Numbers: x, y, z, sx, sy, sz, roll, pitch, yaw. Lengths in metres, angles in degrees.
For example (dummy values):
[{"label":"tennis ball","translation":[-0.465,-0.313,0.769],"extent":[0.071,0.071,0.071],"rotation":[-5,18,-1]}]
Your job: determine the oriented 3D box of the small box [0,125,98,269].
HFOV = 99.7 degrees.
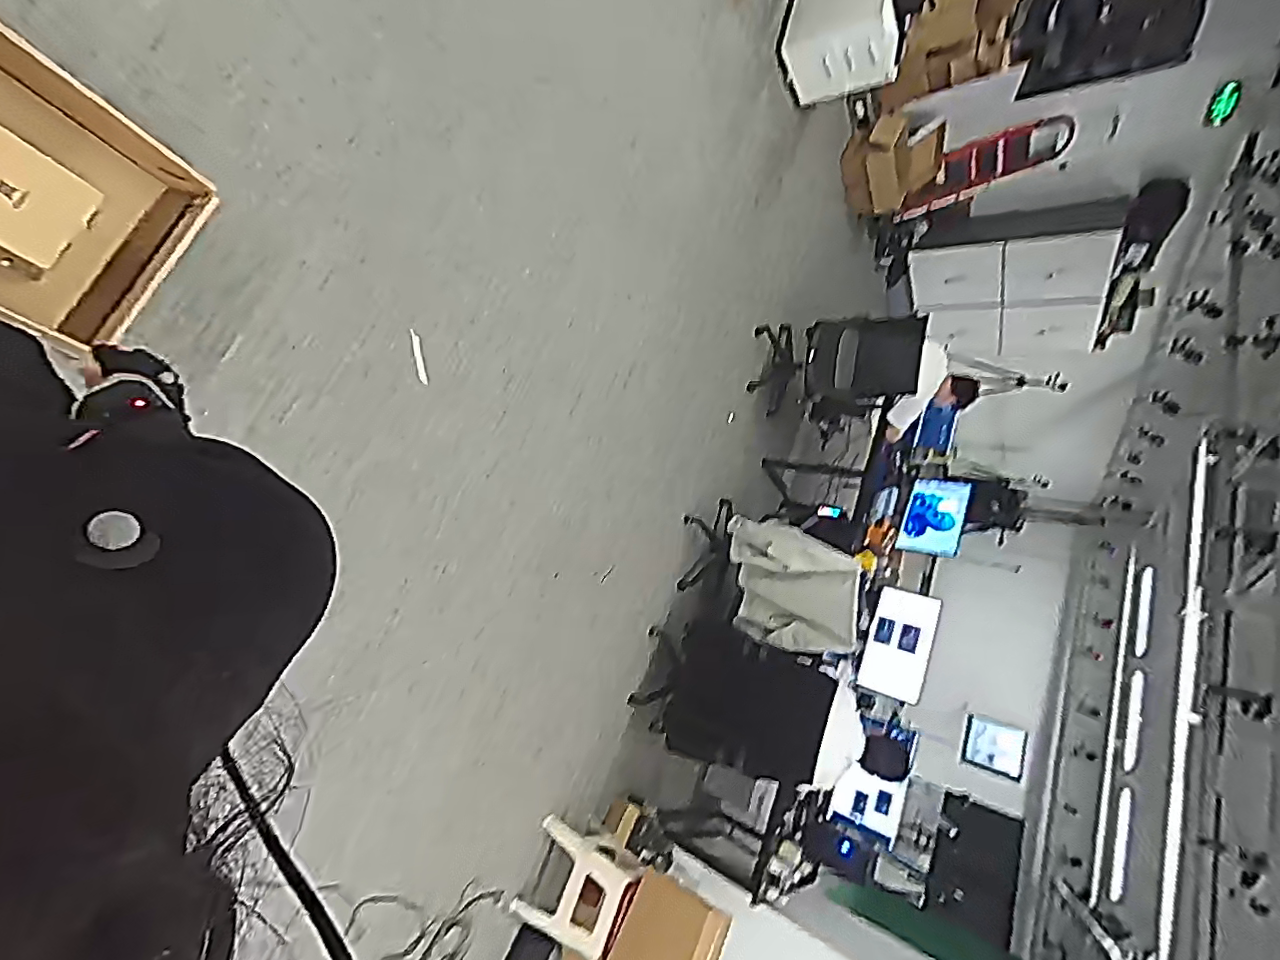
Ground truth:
[{"label":"small box","translation":[-1.060,-0.469,0.885],"extent":[0.179,0.176,0.168],"rotation":[40,64,-48]}]
